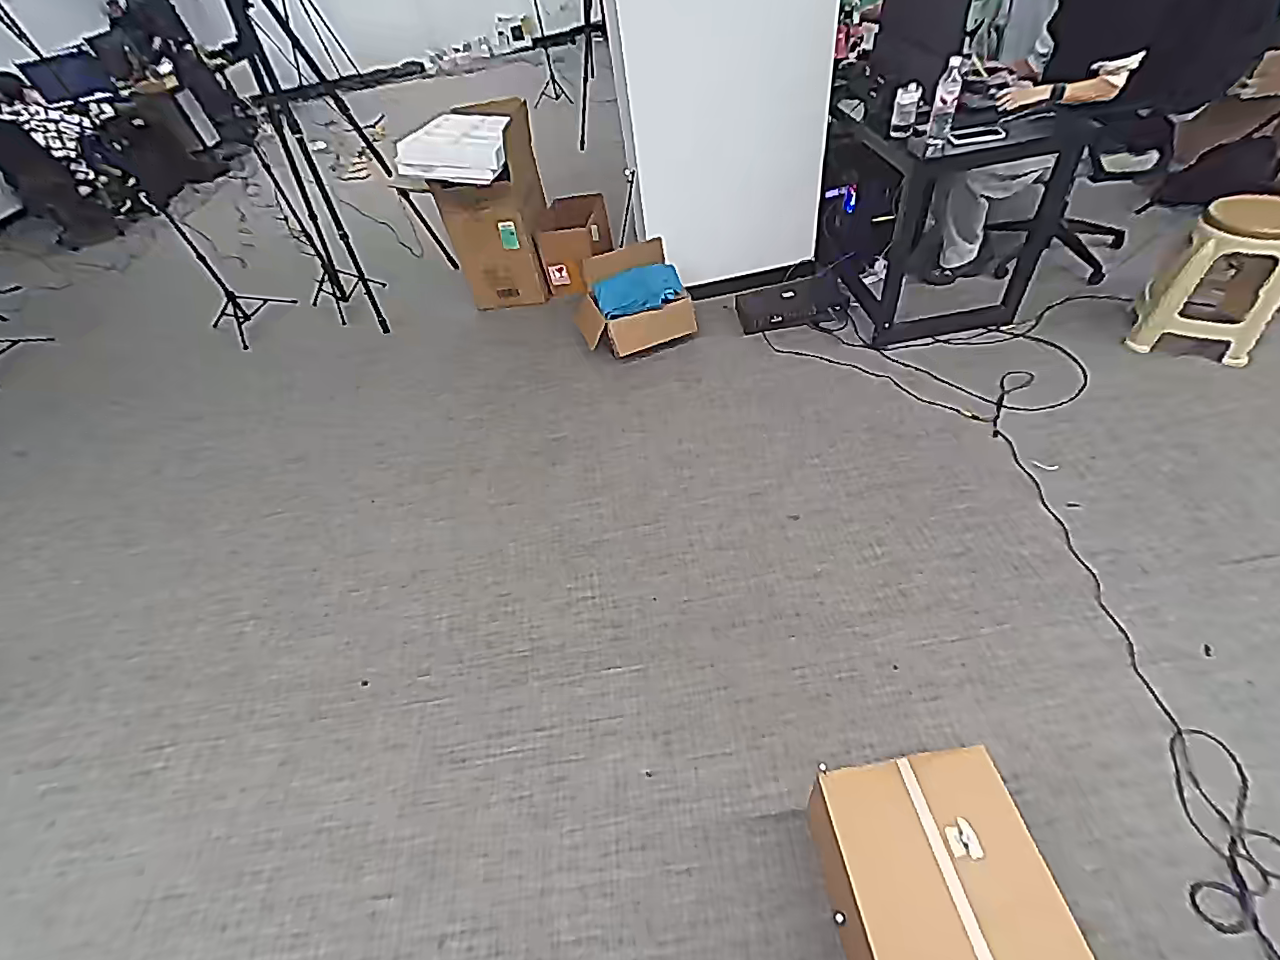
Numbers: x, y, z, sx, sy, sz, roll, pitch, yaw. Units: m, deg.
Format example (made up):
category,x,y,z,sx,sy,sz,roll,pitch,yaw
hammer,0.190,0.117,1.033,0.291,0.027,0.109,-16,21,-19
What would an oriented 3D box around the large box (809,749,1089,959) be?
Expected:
category,x,y,z,sx,sy,sz,roll,pitch,yaw
large box,0.531,0.775,0.989,0.320,0.320,0.408,-10,46,1
